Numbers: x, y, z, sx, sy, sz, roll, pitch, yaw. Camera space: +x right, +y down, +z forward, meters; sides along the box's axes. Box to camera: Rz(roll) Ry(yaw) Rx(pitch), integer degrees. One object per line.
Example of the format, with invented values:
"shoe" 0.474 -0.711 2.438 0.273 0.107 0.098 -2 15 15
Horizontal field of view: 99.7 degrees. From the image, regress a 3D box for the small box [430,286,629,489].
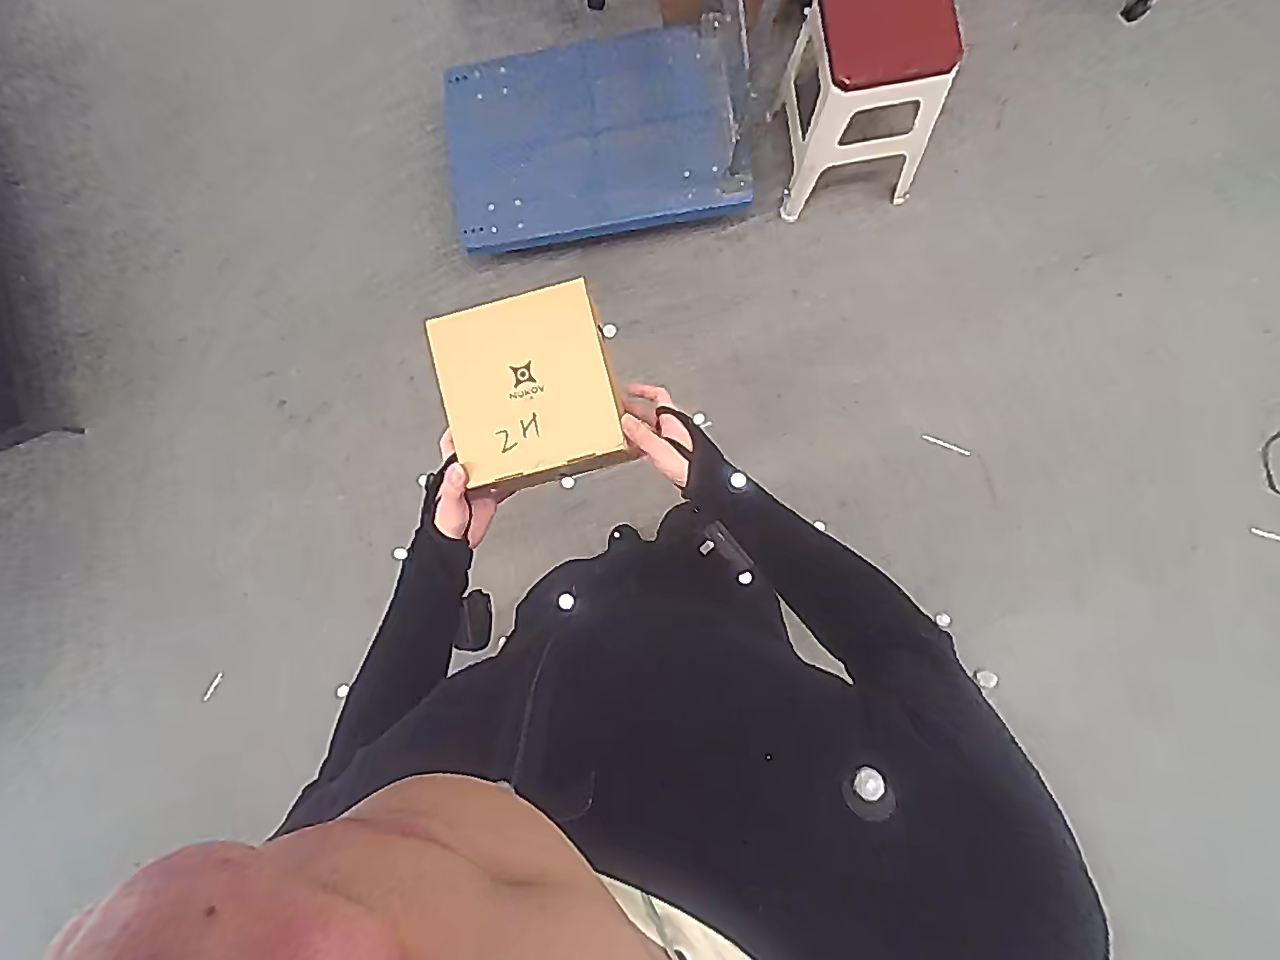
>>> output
"small box" -0.113 -0.091 0.621 0.168 0.176 0.179 -14 88 2
